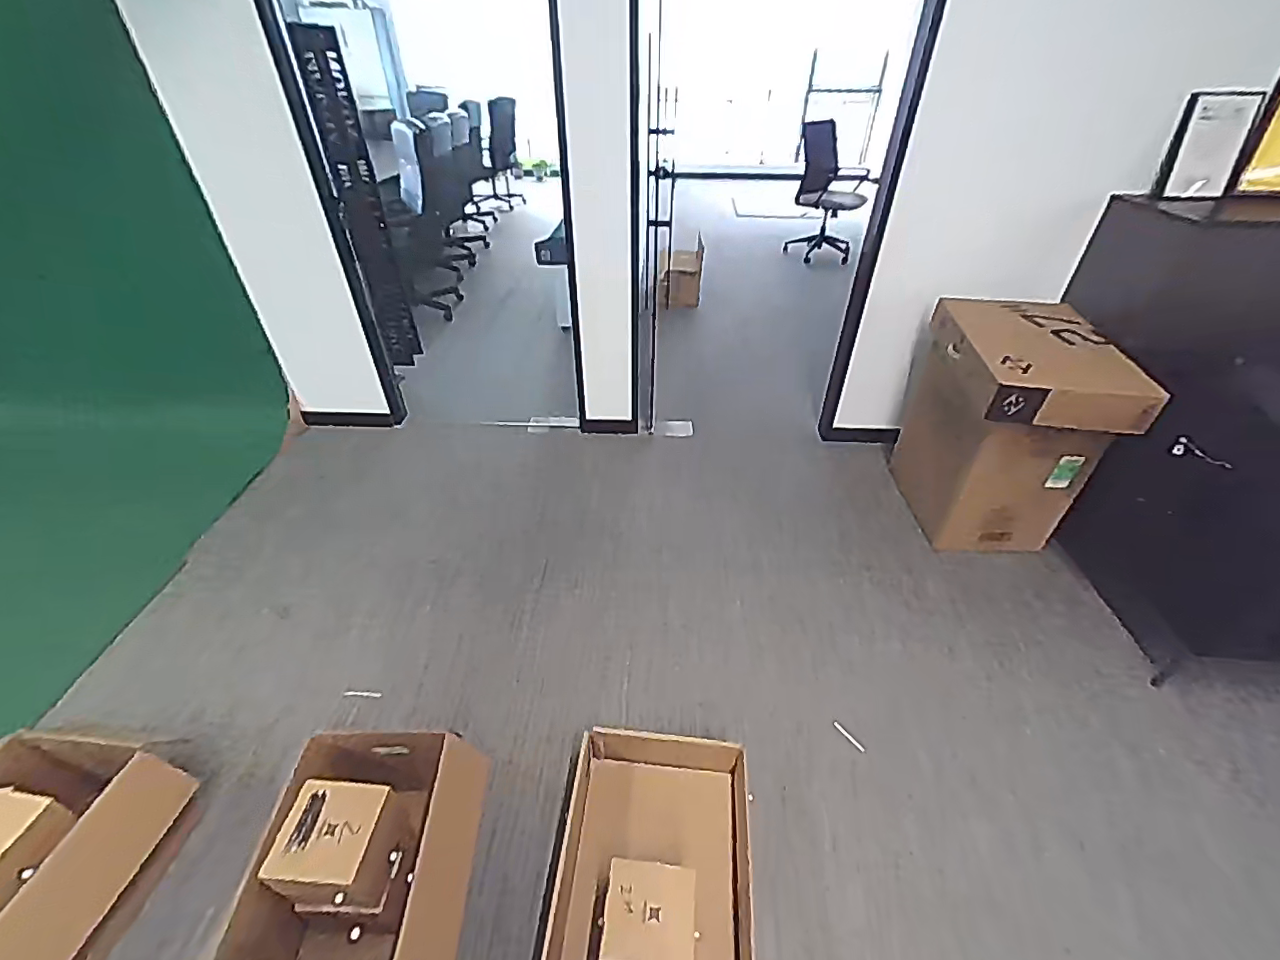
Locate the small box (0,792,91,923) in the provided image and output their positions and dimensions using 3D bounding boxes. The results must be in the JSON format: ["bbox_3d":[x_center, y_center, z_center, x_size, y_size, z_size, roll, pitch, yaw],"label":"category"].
[{"bbox_3d":[-1.250,0.728,1.047,0.179,0.176,0.168,6,38,5],"label":"small box"}]
